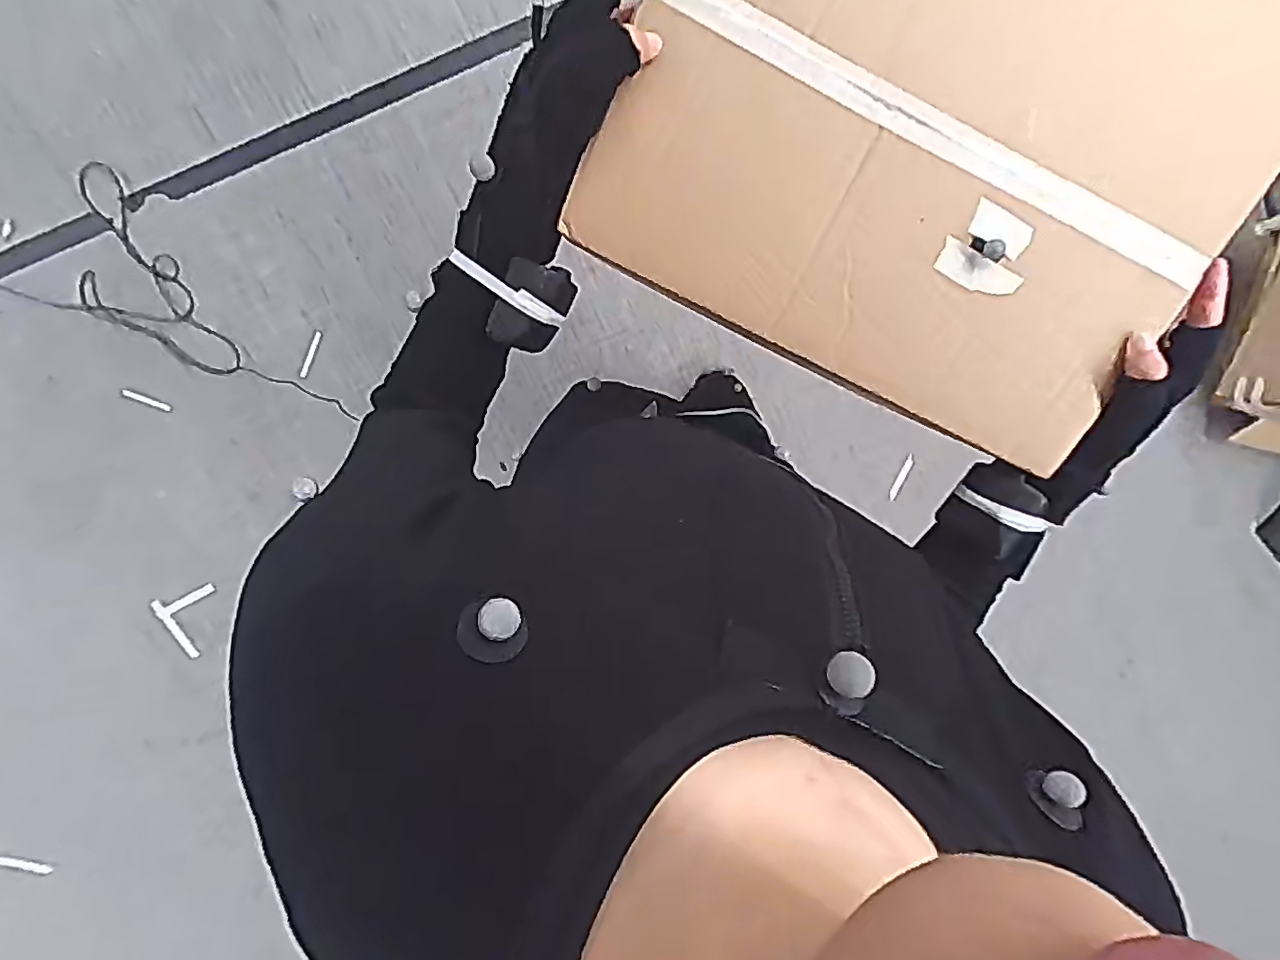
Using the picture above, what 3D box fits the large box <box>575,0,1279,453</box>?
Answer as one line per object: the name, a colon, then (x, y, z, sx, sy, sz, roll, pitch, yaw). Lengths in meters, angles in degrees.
large box: (0.197, -0.275, 0.500, 0.408, 0.320, 0.320, 25, 108, -6)
